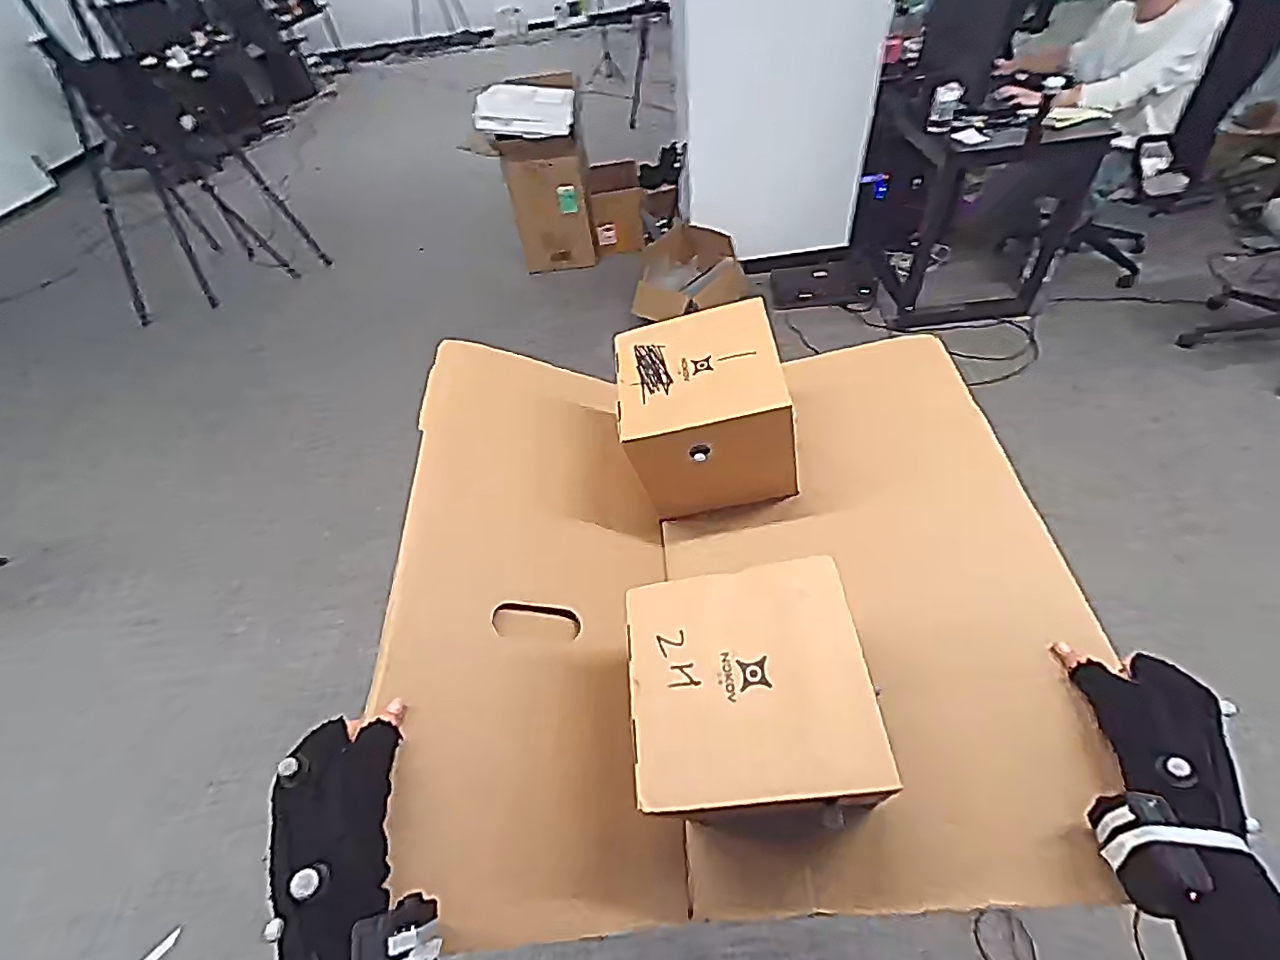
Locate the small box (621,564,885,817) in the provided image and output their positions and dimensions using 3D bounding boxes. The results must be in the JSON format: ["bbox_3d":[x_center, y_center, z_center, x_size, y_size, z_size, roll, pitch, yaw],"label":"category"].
[{"bbox_3d":[0.093,0.193,0.473,0.179,0.176,0.168,-12,55,11],"label":"small box"}]

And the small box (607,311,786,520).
[{"bbox_3d":[0.070,-0.068,0.653,0.179,0.176,0.168,-12,55,10],"label":"small box"}]
